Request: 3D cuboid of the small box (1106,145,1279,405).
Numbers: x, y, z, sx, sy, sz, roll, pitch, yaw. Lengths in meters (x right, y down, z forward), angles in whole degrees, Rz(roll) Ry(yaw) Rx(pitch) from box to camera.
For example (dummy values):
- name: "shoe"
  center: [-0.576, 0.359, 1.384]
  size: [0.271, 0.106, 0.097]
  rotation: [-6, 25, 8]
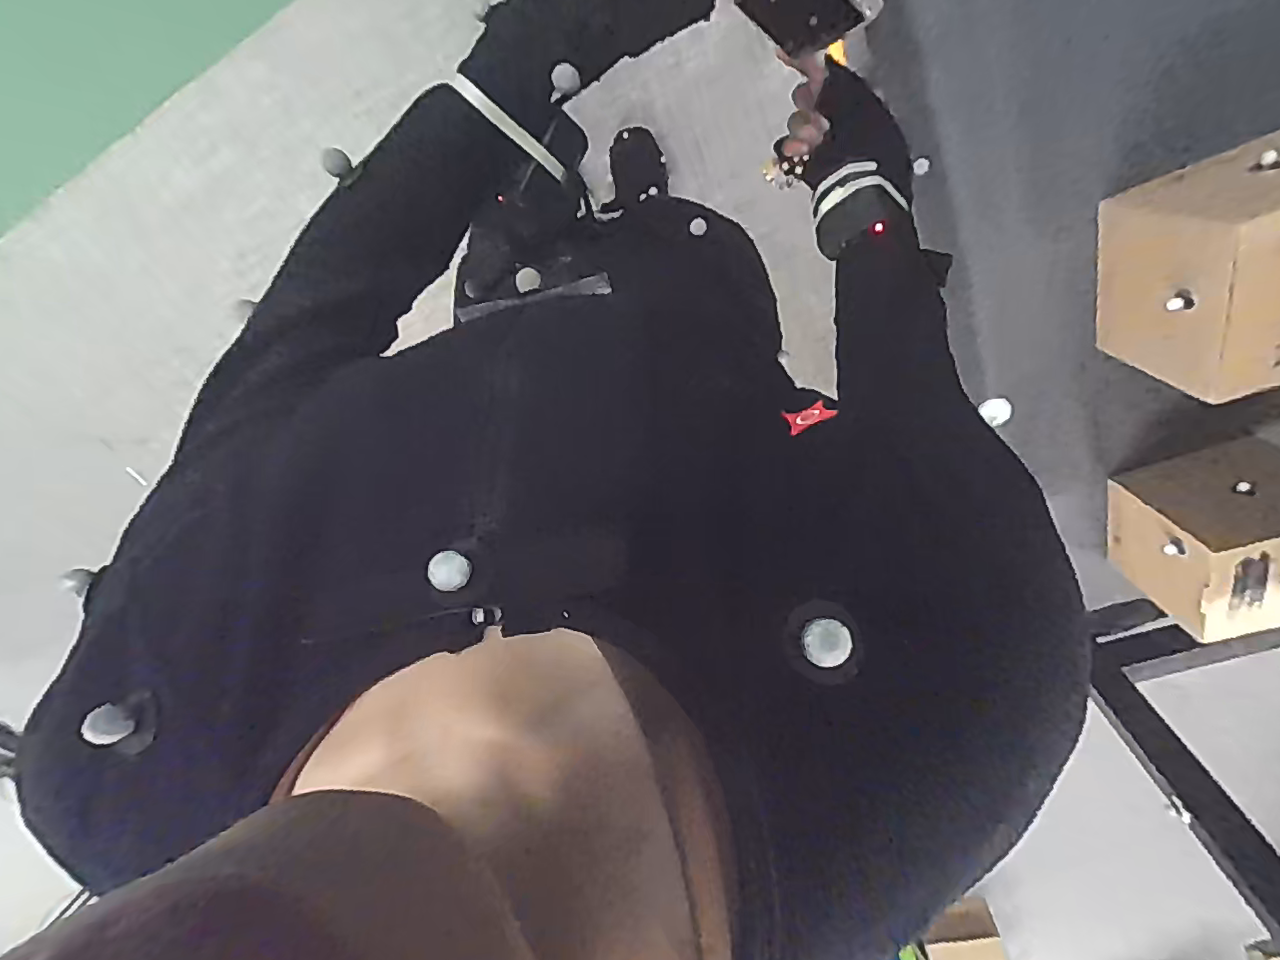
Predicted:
- name: "small box"
  center: [0.592, -0.204, 0.516]
  size: [0.168, 0.176, 0.179]
  rotation: [-19, 120, 14]
